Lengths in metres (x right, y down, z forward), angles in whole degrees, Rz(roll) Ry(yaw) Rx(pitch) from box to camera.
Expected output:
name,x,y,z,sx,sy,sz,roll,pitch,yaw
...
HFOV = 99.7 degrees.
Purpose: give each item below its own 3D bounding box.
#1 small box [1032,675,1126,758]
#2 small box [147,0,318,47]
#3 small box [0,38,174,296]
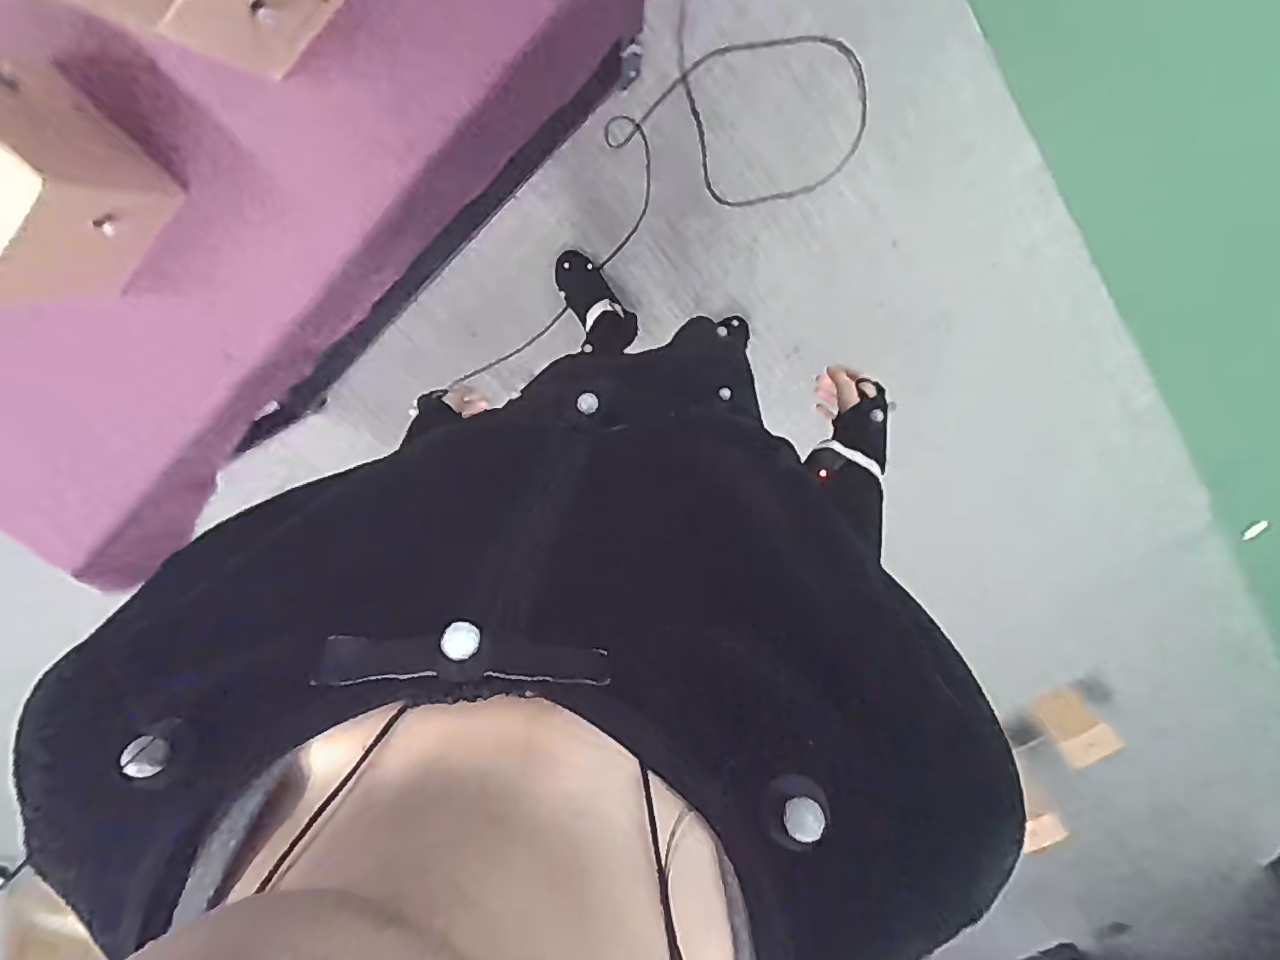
name,x,y,z,sx,sy,sz,roll,pitch,yaw
small box,1.540,0.835,1.914,0.179,0.176,0.168,-40,109,15
small box,-0.369,-0.507,0.446,0.168,0.176,0.179,-37,110,15
small box,-0.626,-0.310,0.534,0.179,0.176,0.168,-38,109,16
